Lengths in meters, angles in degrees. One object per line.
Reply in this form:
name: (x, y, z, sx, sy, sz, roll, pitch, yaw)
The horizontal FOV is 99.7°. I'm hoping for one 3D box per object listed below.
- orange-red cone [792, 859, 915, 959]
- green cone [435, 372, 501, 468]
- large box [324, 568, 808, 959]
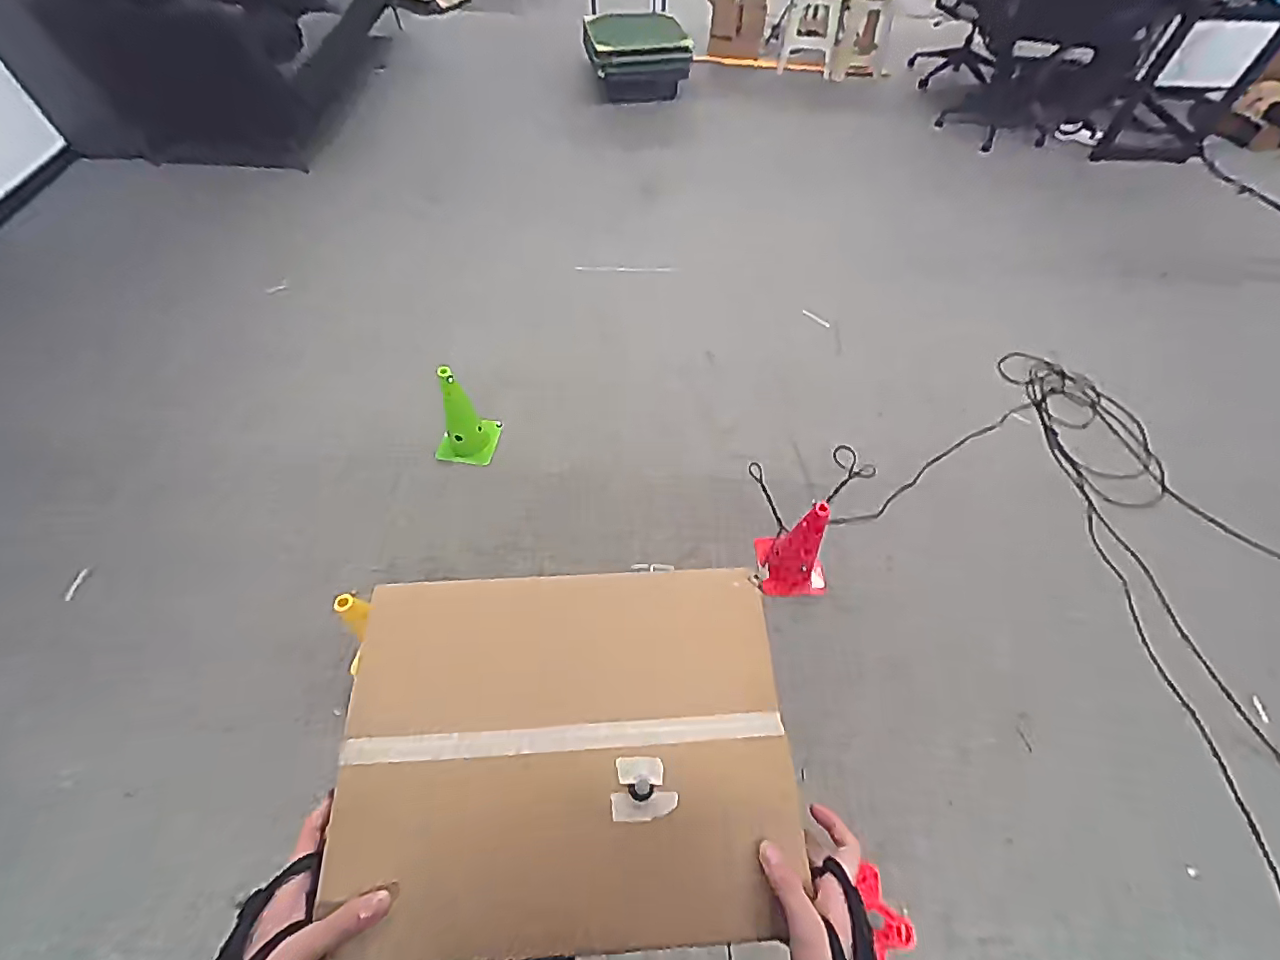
orange-red cone: (0.456, 0.903, 1.089, 0.199, 0.360, 0.198, 9, 57, 2)
green cone: (-0.621, -0.225, 1.820, 0.200, 0.368, 0.202, 7, 57, 3)
large box: (-0.071, 0.314, 0.641, 0.408, 0.320, 0.320, -2, 61, -3)
